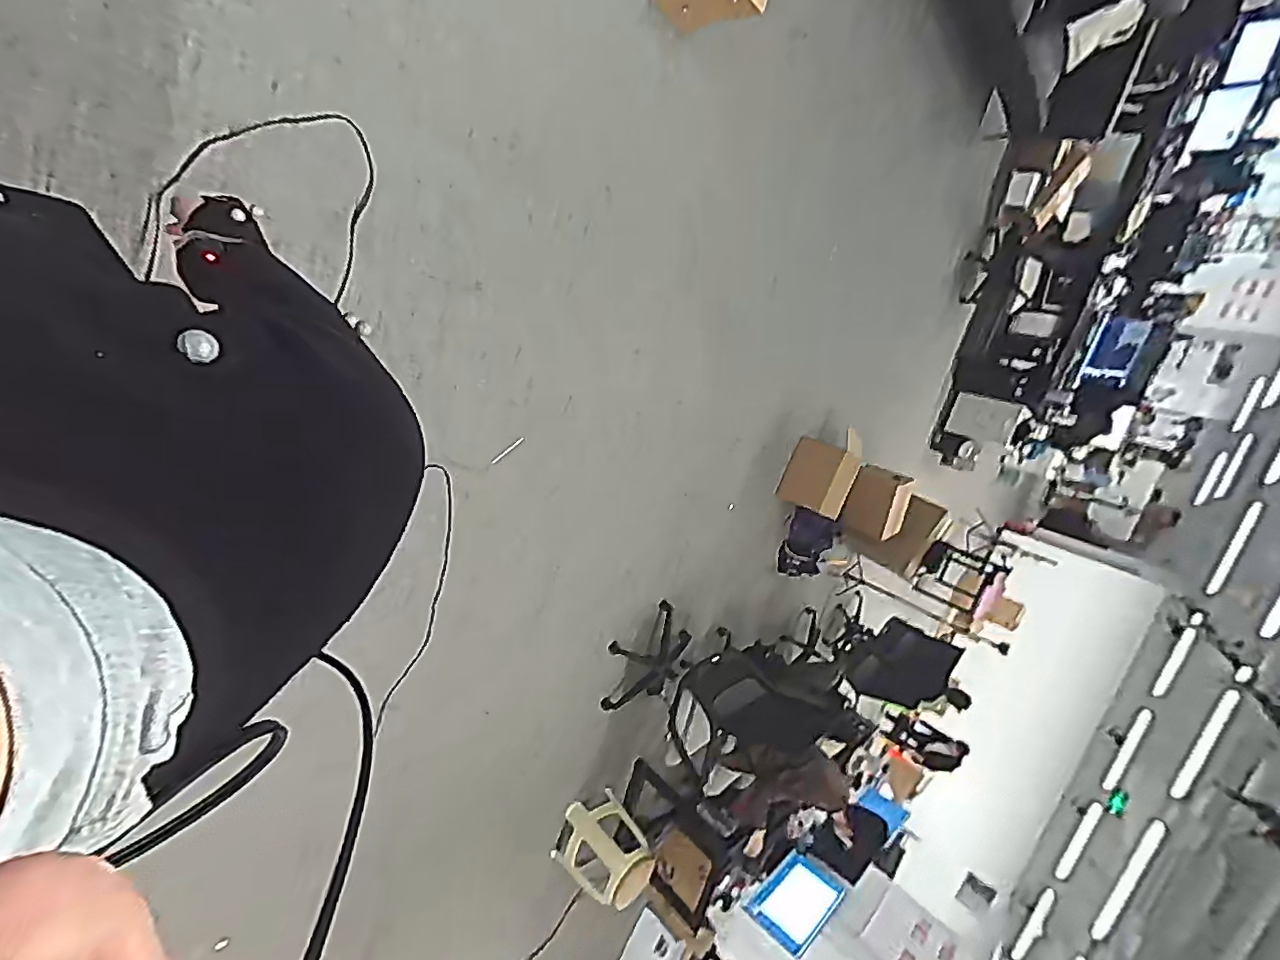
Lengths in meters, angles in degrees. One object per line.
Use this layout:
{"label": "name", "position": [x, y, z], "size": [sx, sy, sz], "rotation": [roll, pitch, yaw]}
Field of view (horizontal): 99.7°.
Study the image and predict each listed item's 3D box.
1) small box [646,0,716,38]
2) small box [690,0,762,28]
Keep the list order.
{"label": "small box", "position": [0.144, -1.538, 1.698], "size": [0.179, 0.176, 0.168], "rotation": [2, 107, -47]}
{"label": "small box", "position": [0.258, -1.485, 1.595], "size": [0.179, 0.176, 0.168], "rotation": [3, 108, -49]}
